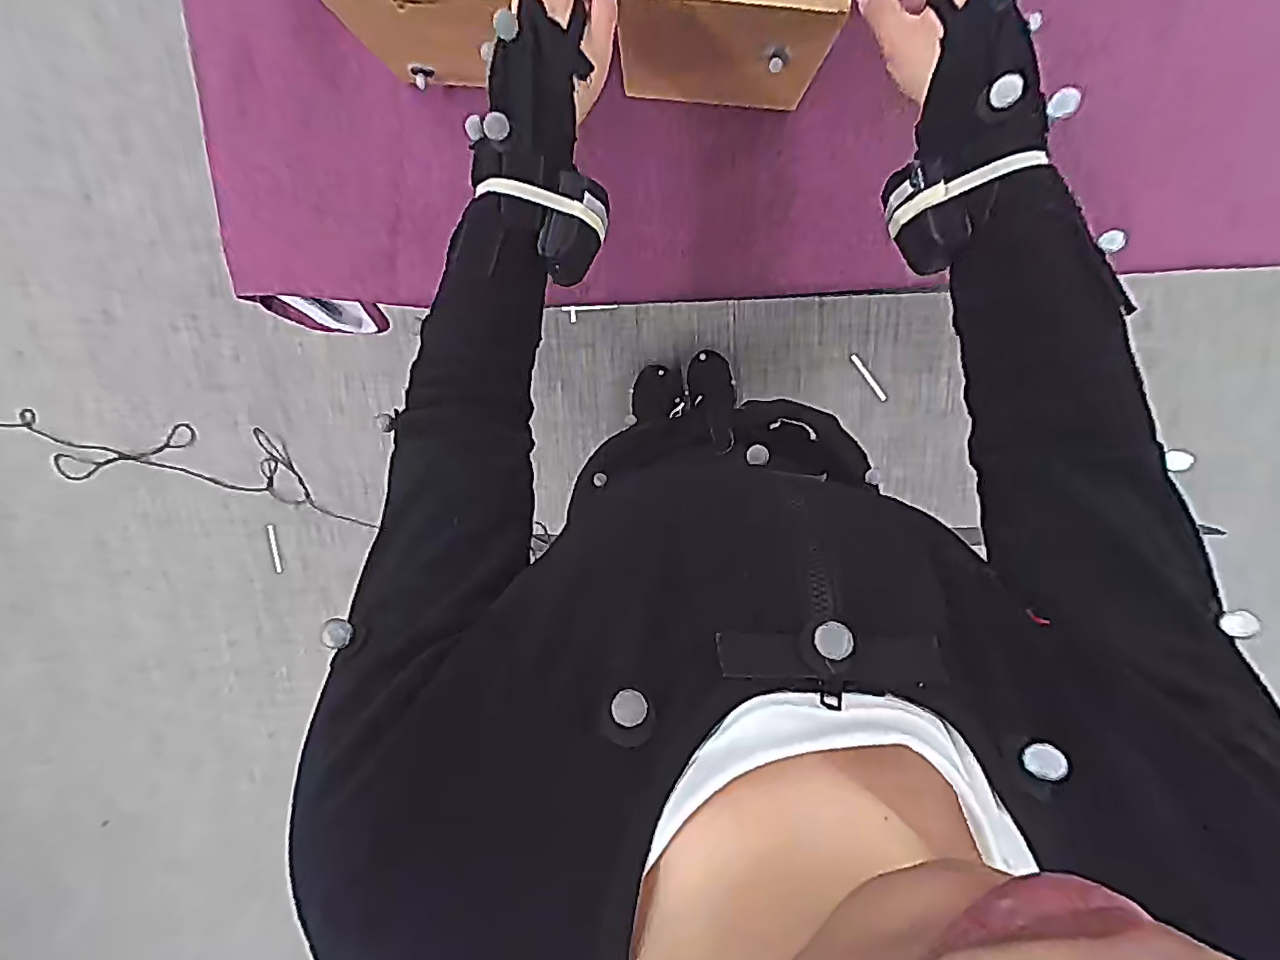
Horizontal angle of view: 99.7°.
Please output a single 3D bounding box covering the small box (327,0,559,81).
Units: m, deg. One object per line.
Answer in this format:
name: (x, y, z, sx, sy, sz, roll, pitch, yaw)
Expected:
small box: (-0.161, -0.471, 0.454, 0.168, 0.176, 0.179, 3, 104, 1)
